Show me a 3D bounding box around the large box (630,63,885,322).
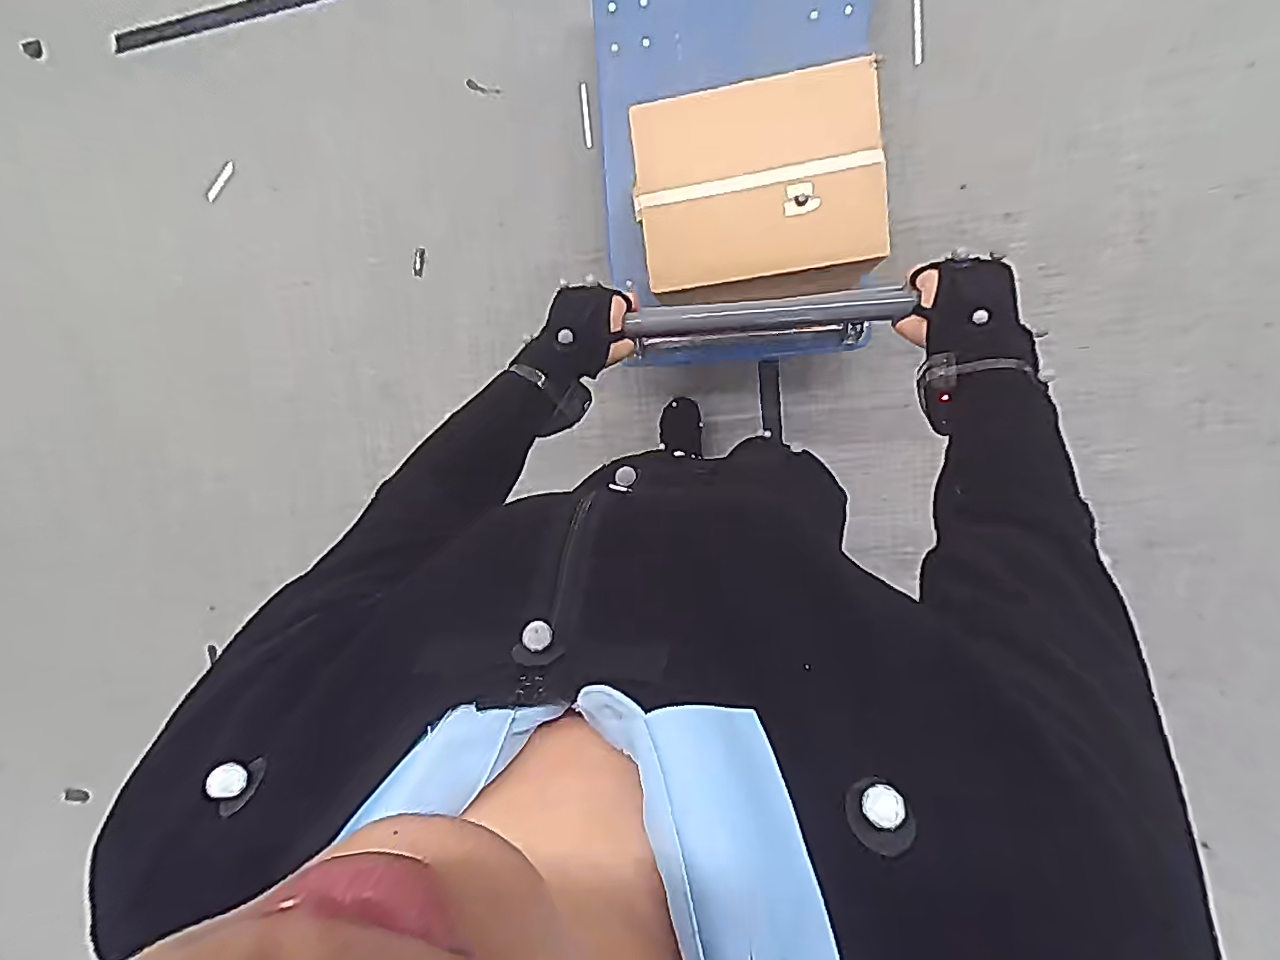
[{"bbox_3d":[0.213,-0.520,1.065,0.408,0.320,0.320,-7,97,7],"label":"large box"}]
